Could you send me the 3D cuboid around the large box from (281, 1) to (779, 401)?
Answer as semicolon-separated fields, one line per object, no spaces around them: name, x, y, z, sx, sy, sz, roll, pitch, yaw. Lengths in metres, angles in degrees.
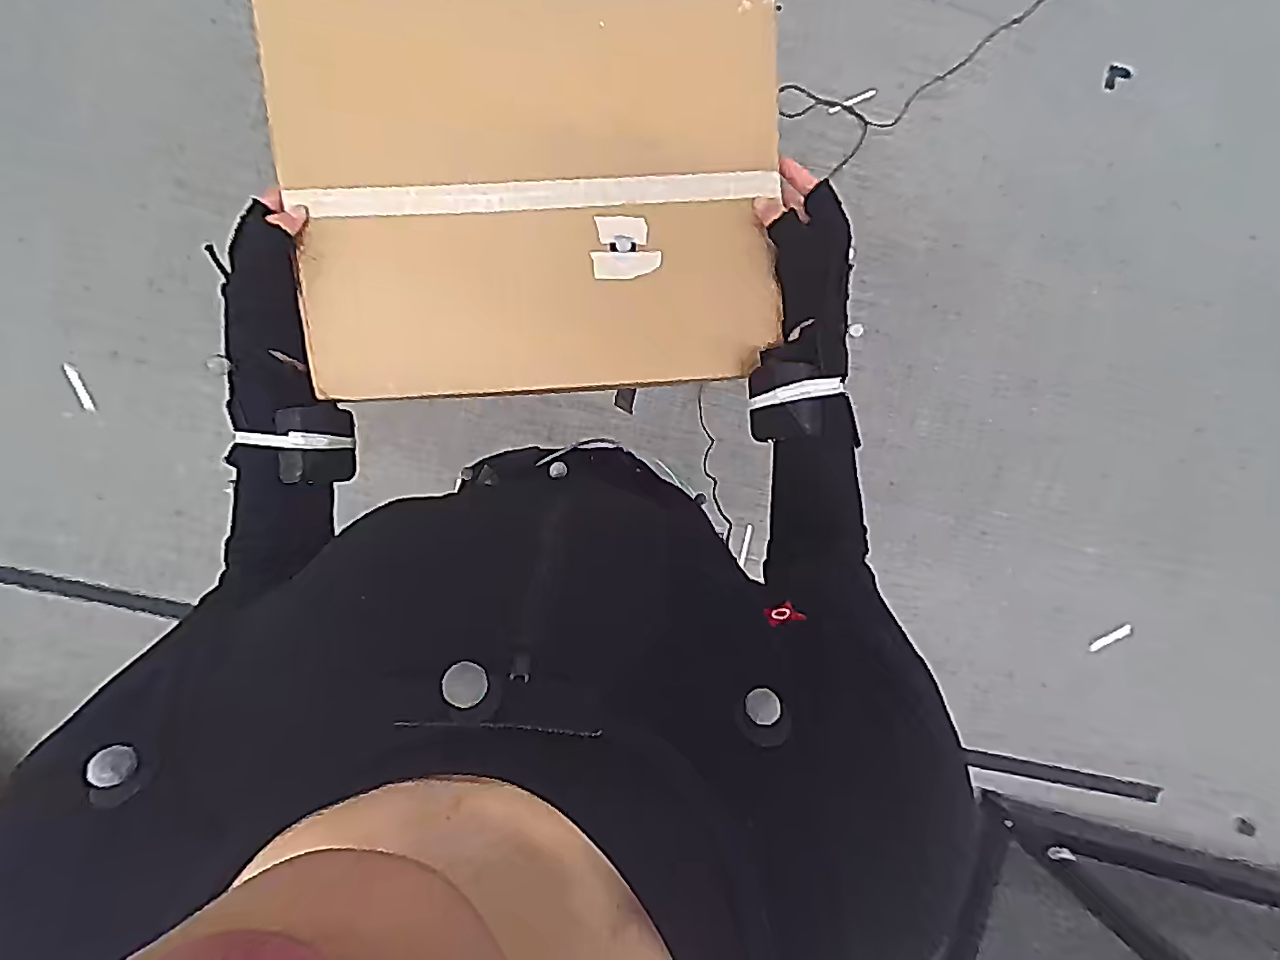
large box;-0.092;-0.259;0.608;0.408;0.320;0.320;-4;100;-5
